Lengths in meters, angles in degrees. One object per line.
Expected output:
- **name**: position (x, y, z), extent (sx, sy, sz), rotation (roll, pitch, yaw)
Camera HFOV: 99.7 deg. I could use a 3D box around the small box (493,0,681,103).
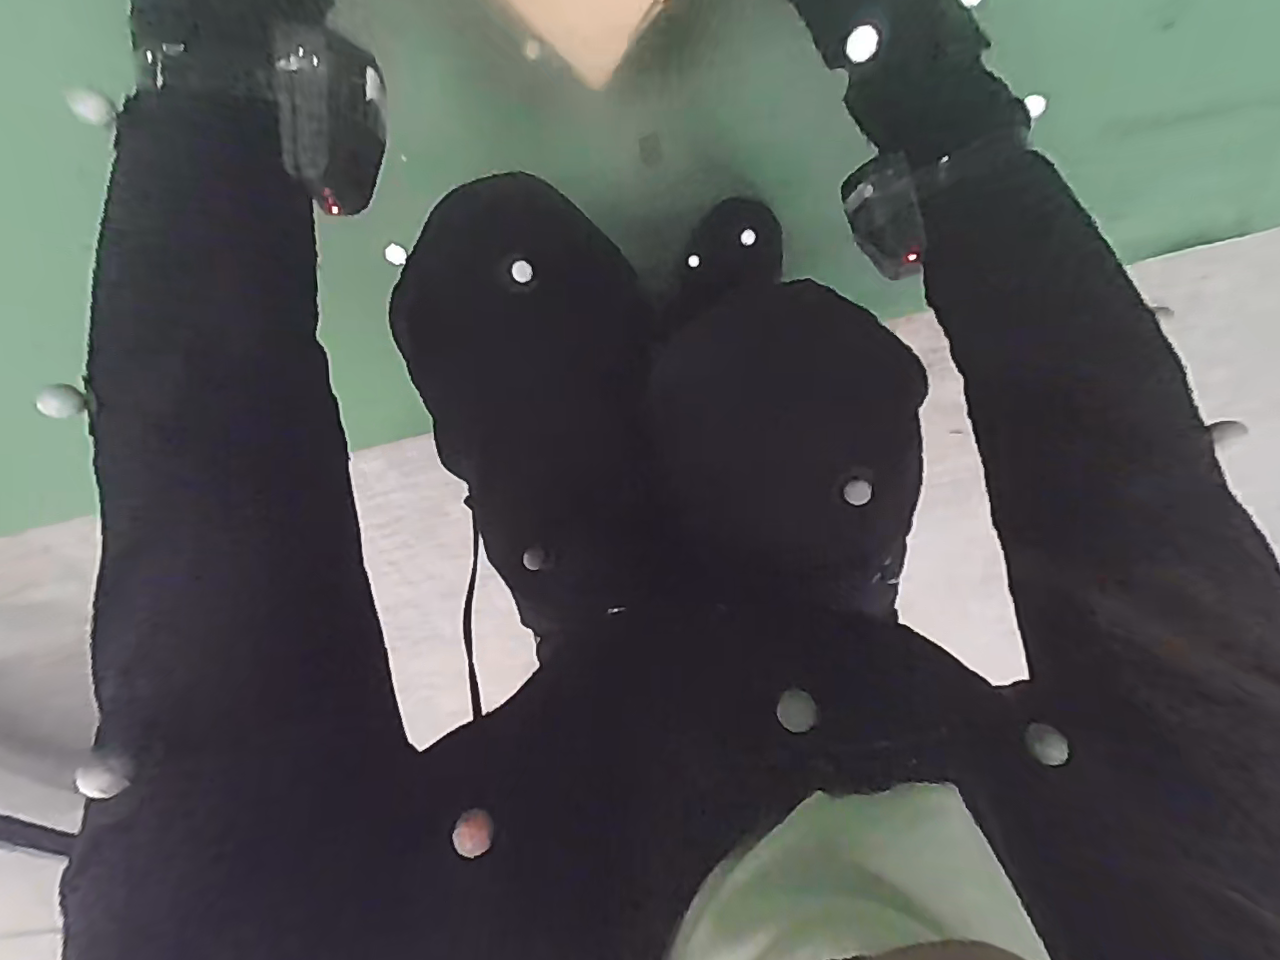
- **small box**: position (-0.046, -0.375, 0.325), extent (0.179, 0.176, 0.168), rotation (27, 118, -30)
